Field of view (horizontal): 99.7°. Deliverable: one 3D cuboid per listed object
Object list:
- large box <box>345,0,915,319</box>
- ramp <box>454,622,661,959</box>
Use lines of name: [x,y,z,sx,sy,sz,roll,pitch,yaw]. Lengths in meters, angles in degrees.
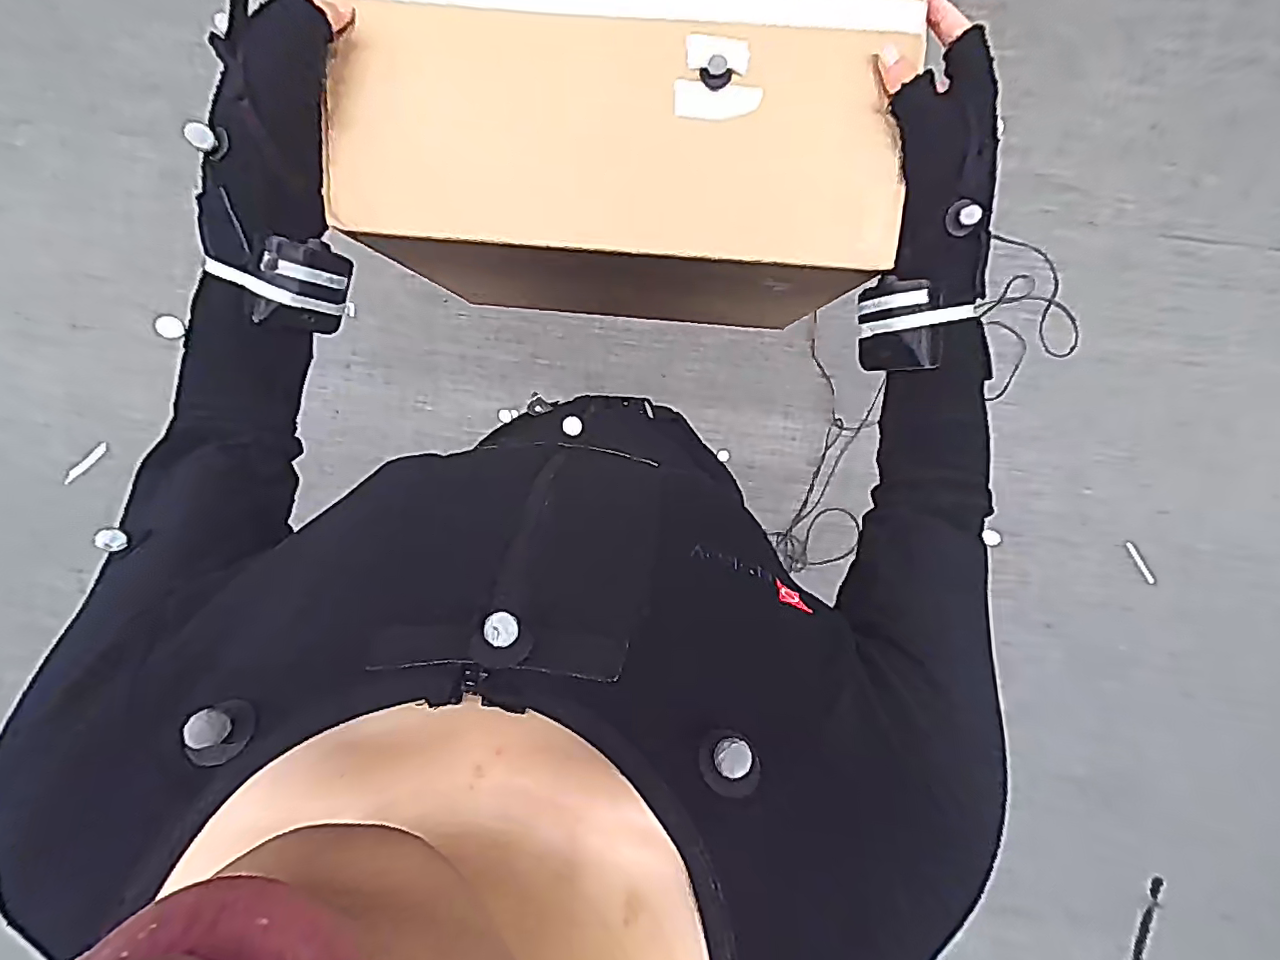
large box: [-0.008,-0.348,0.525,0.408,0.320,0.320,4,98,0]
ramp: [-0.228,0.918,1.500,0.509,0.206,0.991,4,96,2]
